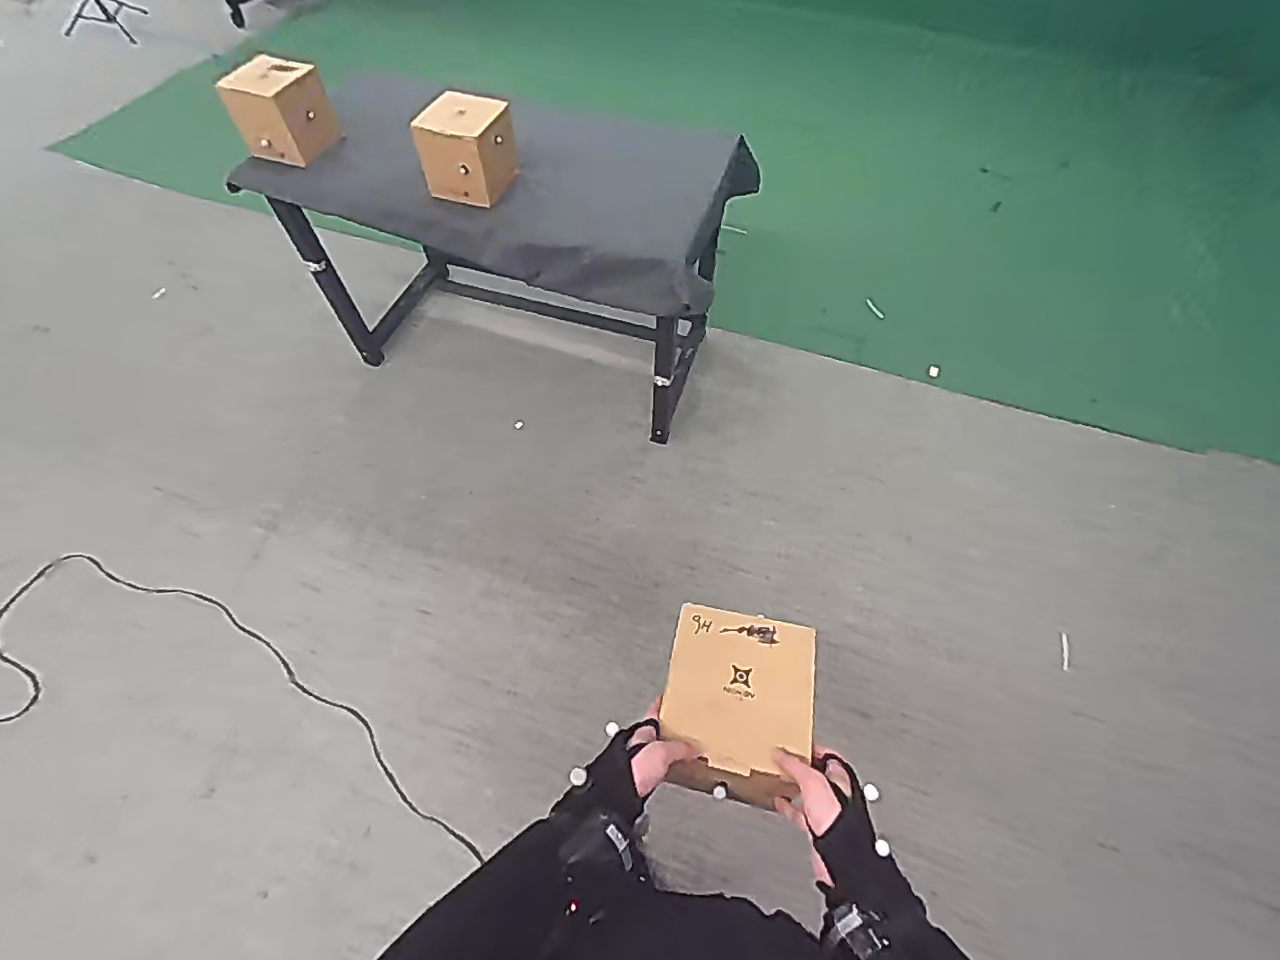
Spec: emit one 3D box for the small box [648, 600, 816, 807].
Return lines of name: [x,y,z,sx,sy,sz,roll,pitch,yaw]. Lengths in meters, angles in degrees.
small box: [0.111,0.277,0.661,0.168,0.176,0.179,10,52,10]

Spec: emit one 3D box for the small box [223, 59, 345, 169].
small box: [-0.899,-0.941,1.393,0.168,0.176,0.179,17,59,9]

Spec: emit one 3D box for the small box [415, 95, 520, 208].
small box: [-0.405,-0.792,1.311,0.168,0.176,0.179,17,58,8]
